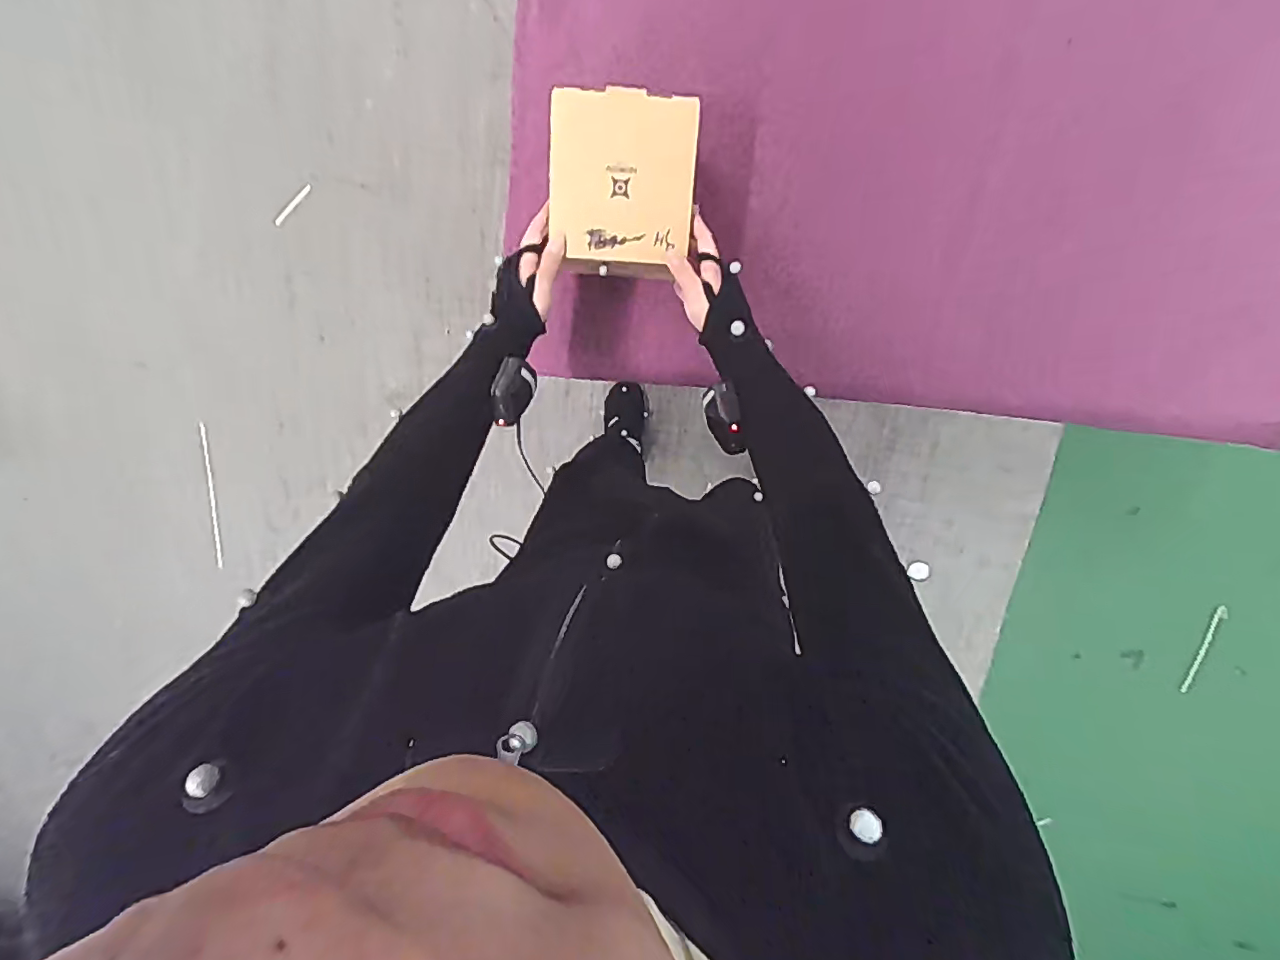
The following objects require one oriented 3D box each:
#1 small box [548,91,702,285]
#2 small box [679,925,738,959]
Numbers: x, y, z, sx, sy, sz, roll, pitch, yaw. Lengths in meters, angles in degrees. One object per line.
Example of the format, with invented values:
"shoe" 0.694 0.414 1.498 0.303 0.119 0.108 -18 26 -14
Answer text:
"small box" -0.020 -0.354 0.686 0.168 0.176 0.179 4 105 0
"small box" 0.218 1.582 1.725 0.168 0.176 0.179 10 106 -1
